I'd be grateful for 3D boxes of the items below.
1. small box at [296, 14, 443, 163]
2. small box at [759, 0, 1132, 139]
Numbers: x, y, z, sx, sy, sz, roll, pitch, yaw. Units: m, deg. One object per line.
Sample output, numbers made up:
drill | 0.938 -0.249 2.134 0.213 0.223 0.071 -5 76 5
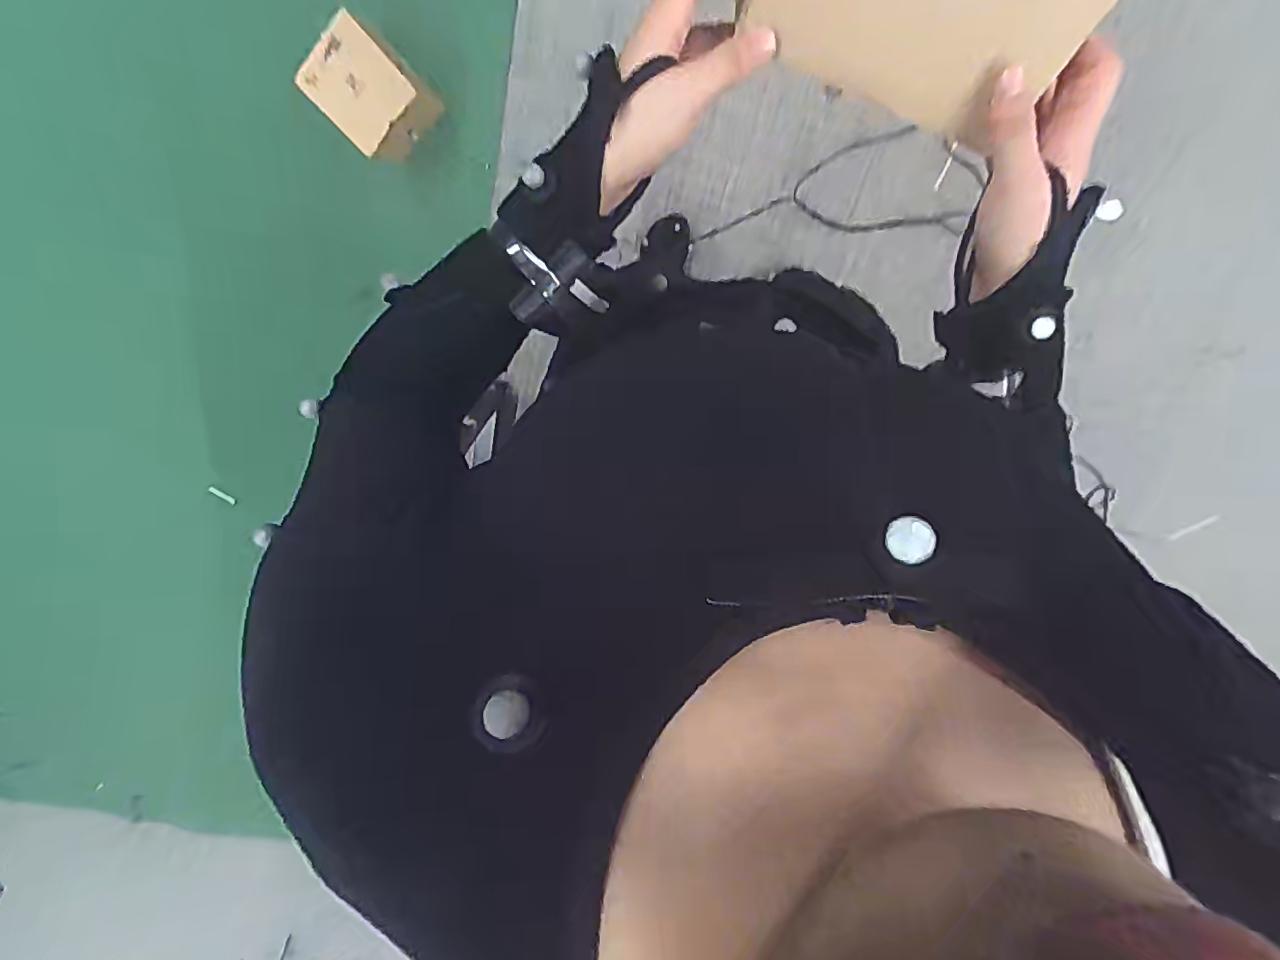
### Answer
small box | -0.535 -0.778 1.098 0.168 0.176 0.179 -39 111 17
small box | 0.177 -0.333 0.296 0.179 0.176 0.168 15 142 -11
